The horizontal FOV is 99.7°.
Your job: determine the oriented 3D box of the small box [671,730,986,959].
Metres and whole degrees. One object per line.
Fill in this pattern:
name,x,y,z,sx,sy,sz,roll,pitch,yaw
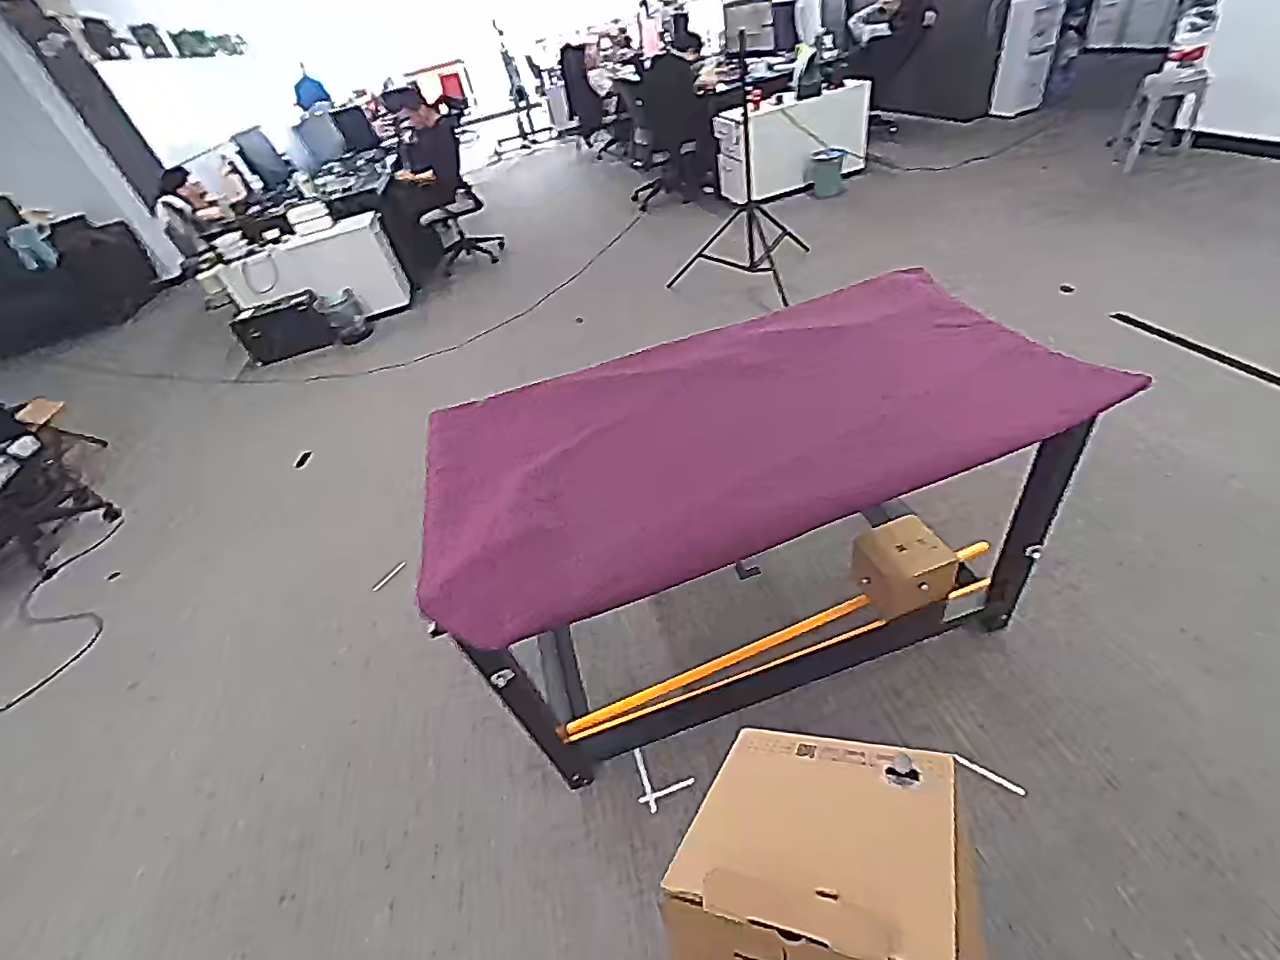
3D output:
small box,0.142,0.306,0.378,0.168,0.179,0.176,-7,9,31

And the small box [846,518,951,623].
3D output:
small box,0.639,0.231,1.360,0.179,0.176,0.168,-20,42,-5
